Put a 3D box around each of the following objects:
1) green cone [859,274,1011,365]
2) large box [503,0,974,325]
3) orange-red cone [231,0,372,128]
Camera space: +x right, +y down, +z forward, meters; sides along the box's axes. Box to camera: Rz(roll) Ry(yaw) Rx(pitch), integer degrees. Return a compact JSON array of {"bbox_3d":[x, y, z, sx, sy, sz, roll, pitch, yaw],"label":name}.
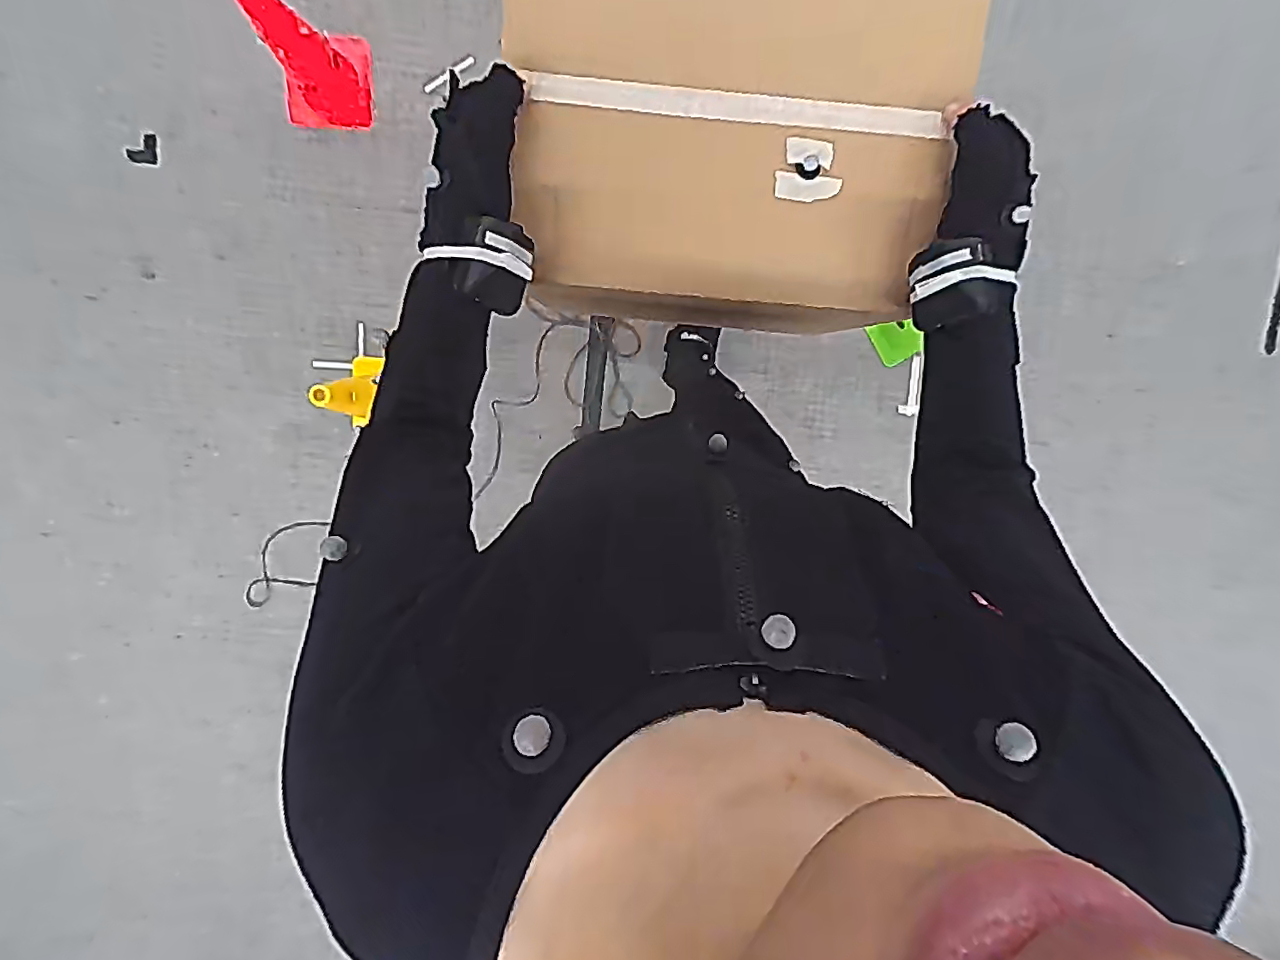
[{"bbox_3d":[0.706,-0.409,1.255,0.202,0.368,0.200,-33,99,1],"label":"green cone"},{"bbox_3d":[0.075,-0.360,0.617,0.408,0.320,0.320,4,102,-3],"label":"large box"},{"bbox_3d":[-0.737,-0.922,1.120,0.198,0.360,0.199,2,99,-2],"label":"orange-red cone"}]
